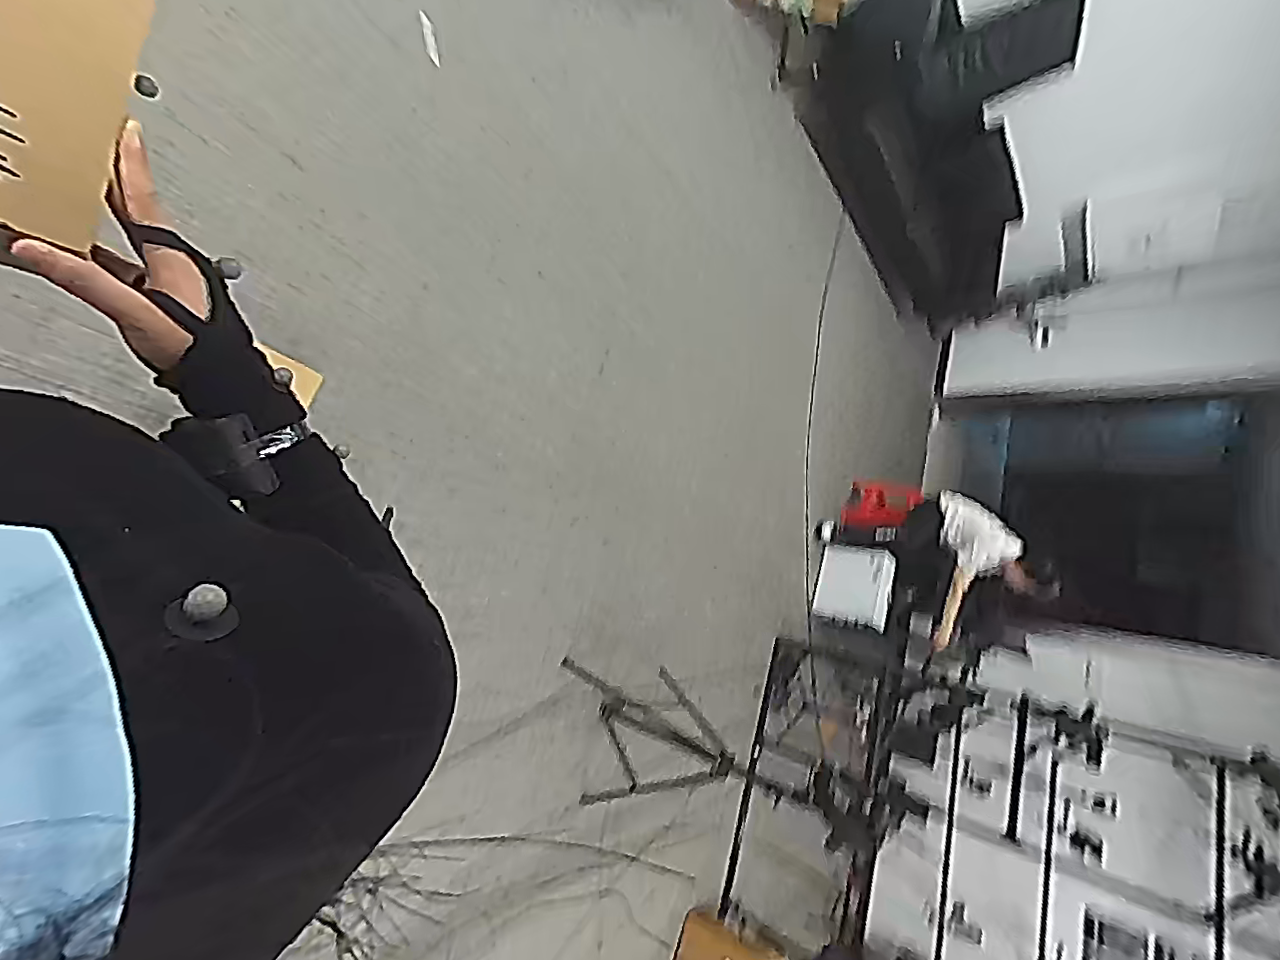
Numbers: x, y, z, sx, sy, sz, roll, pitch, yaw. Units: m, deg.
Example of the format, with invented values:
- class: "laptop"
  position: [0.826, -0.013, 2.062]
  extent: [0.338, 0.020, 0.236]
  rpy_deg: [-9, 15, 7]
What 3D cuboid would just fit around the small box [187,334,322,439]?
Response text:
- class: "small box"
  position: [-0.860, -0.202, 1.206]
  extent: [0.179, 0.176, 0.168]
  rpy_deg: [33, 68, -44]
